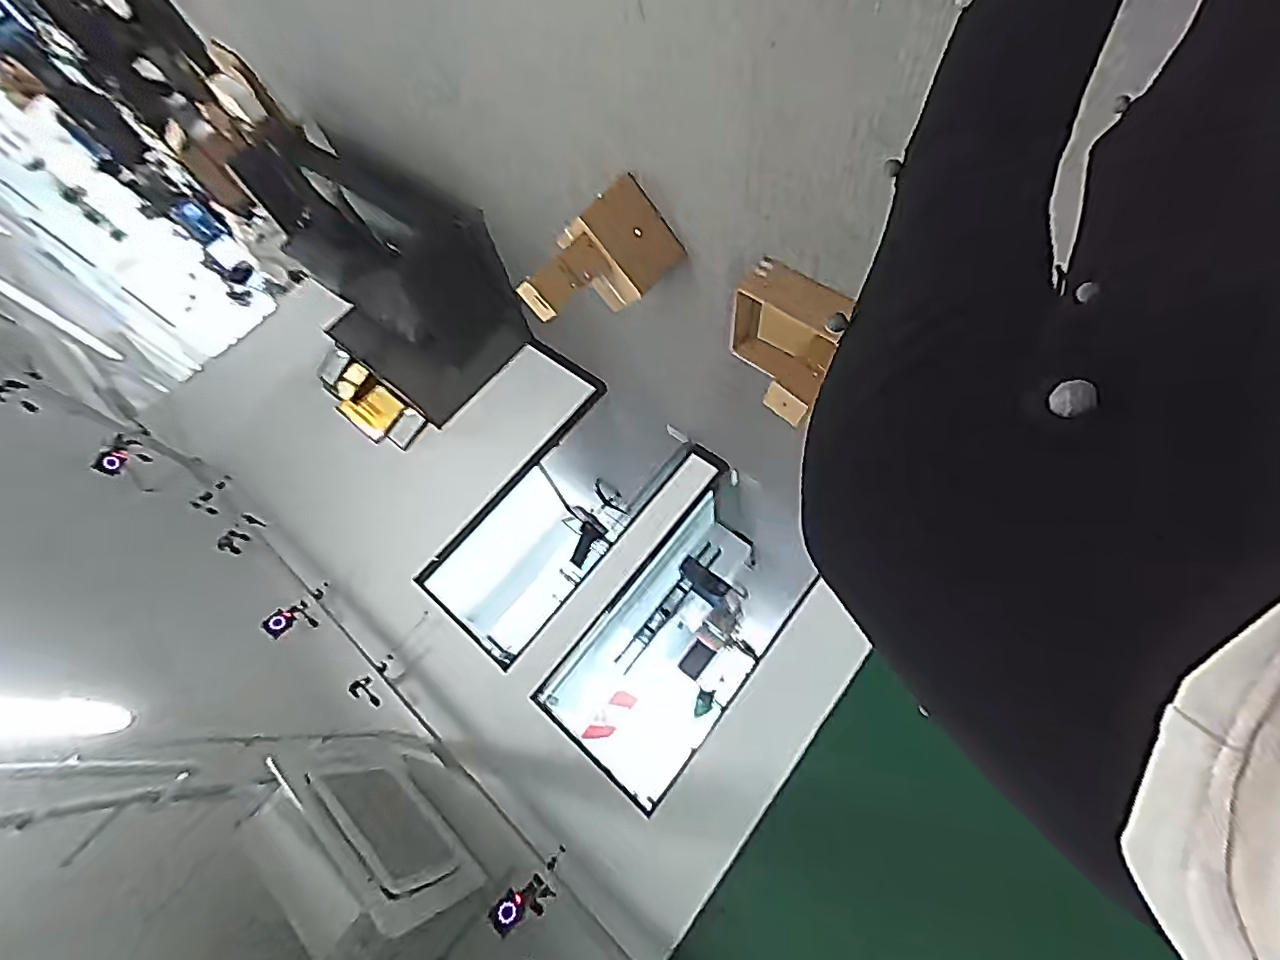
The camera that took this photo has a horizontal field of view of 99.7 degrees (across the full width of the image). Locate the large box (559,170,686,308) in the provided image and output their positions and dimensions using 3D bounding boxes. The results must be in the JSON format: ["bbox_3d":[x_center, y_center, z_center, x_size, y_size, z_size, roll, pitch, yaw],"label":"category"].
[{"bbox_3d":[-0.078,-1.043,2.379,0.408,0.320,0.320,46,166,-21],"label":"large box"}]

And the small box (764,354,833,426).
[{"bbox_3d":[0.605,-0.345,2.066,0.168,0.176,0.179,41,165,12],"label":"small box"}]

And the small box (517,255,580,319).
[{"bbox_3d":[-0.370,-0.792,2.217,0.168,0.176,0.179,47,165,-22],"label":"small box"}]

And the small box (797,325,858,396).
[{"bbox_3d":[0.716,-0.460,2.101,0.168,0.176,0.179,41,165,16],"label":"small box"}]
